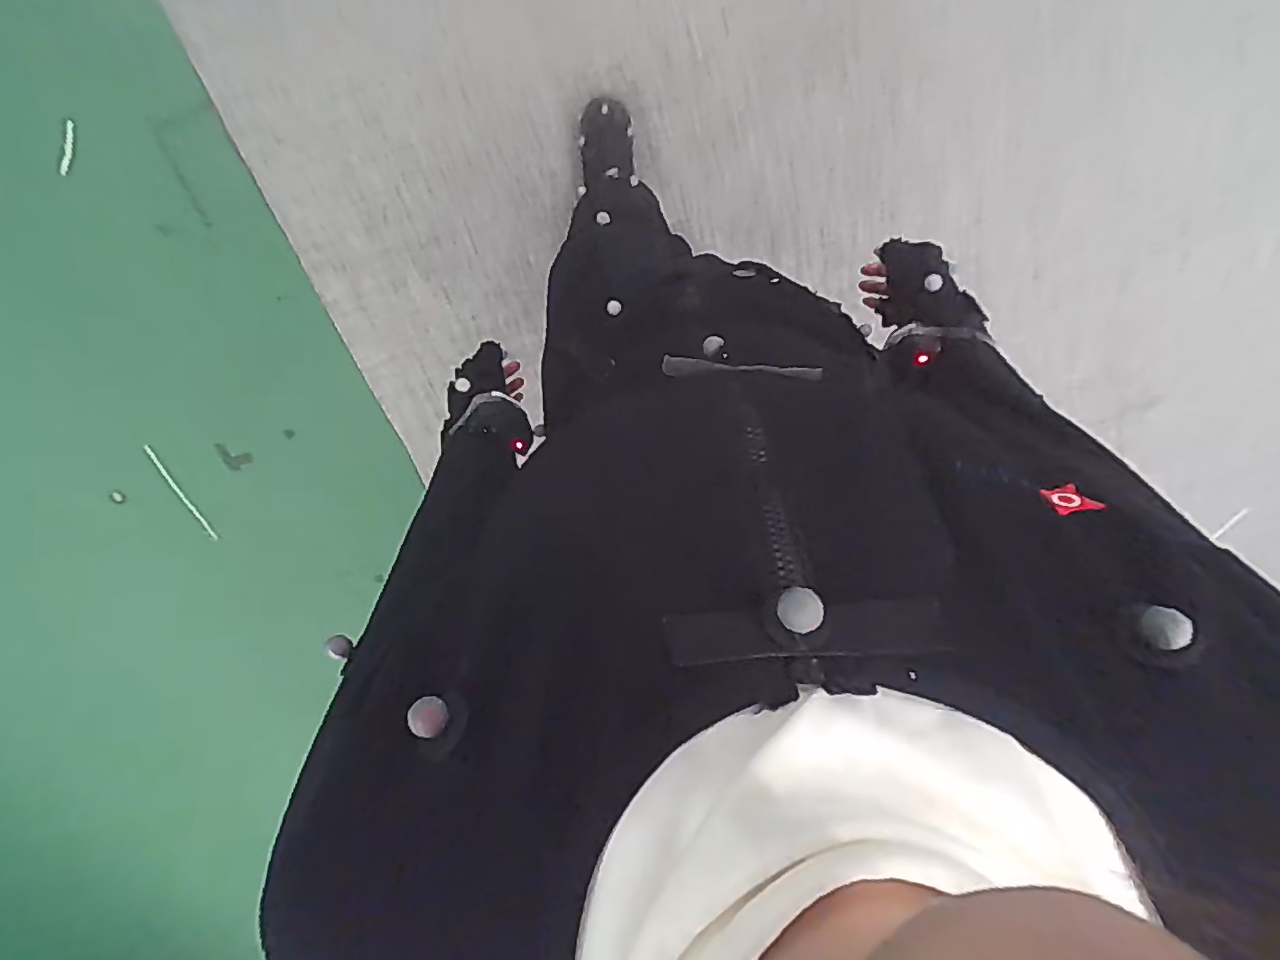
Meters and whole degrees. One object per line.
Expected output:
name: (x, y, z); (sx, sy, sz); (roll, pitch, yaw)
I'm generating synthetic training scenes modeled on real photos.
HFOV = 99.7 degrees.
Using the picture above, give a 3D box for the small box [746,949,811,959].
small box: (0.361, 1.275, 1.298); (0.168, 0.176, 0.179); (-18, 116, 7)
